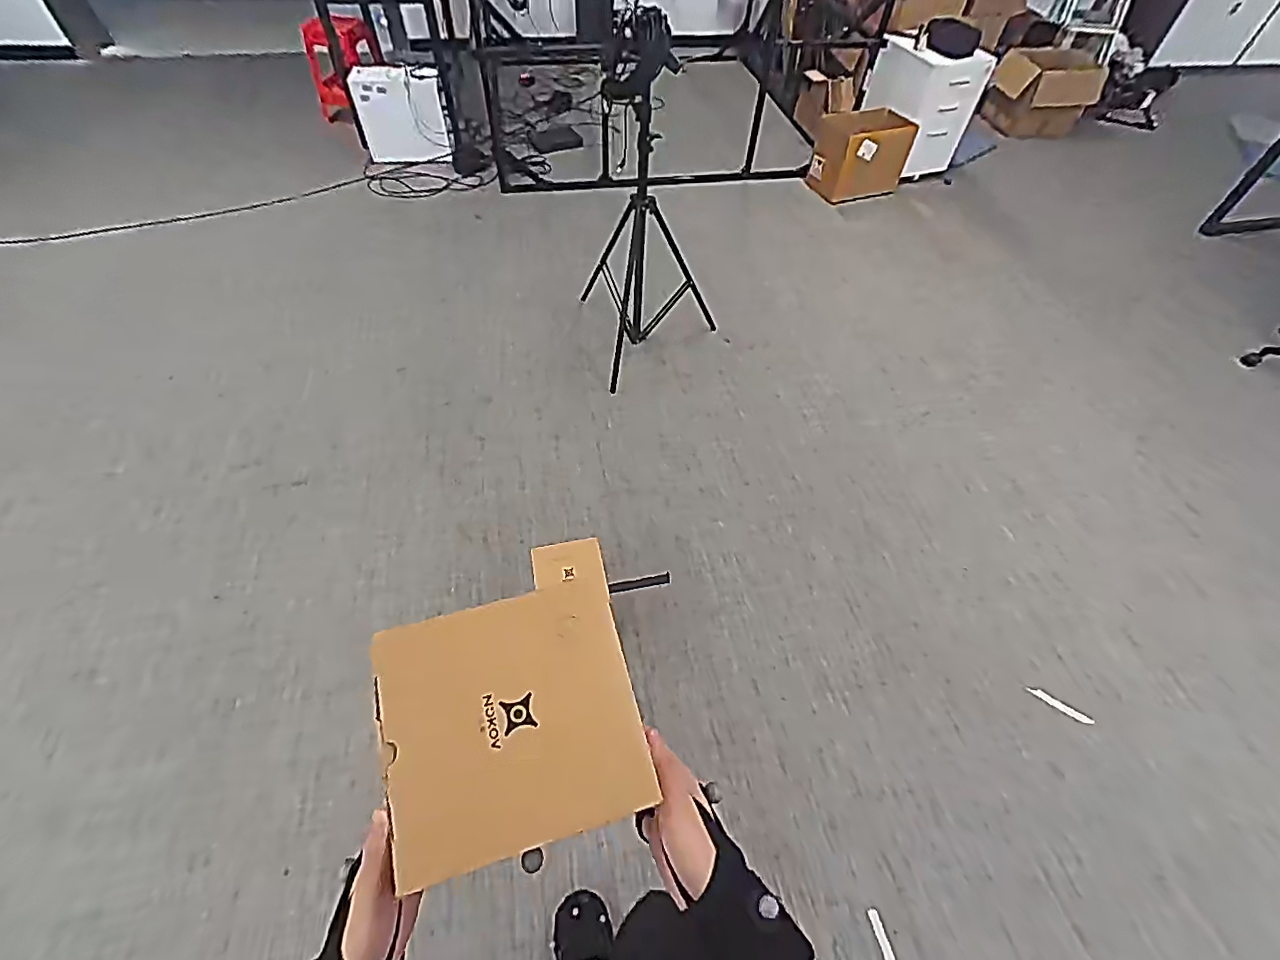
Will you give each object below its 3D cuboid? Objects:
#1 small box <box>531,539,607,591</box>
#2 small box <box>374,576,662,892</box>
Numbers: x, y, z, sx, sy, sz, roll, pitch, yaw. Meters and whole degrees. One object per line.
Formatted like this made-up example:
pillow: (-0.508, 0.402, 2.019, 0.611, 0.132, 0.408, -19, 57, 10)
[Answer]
small box: (-0.167, 0.274, 1.328, 0.168, 0.176, 0.179, -9, 53, -11)
small box: (-0.097, 0.197, 0.452, 0.179, 0.176, 0.168, -13, 67, -12)
